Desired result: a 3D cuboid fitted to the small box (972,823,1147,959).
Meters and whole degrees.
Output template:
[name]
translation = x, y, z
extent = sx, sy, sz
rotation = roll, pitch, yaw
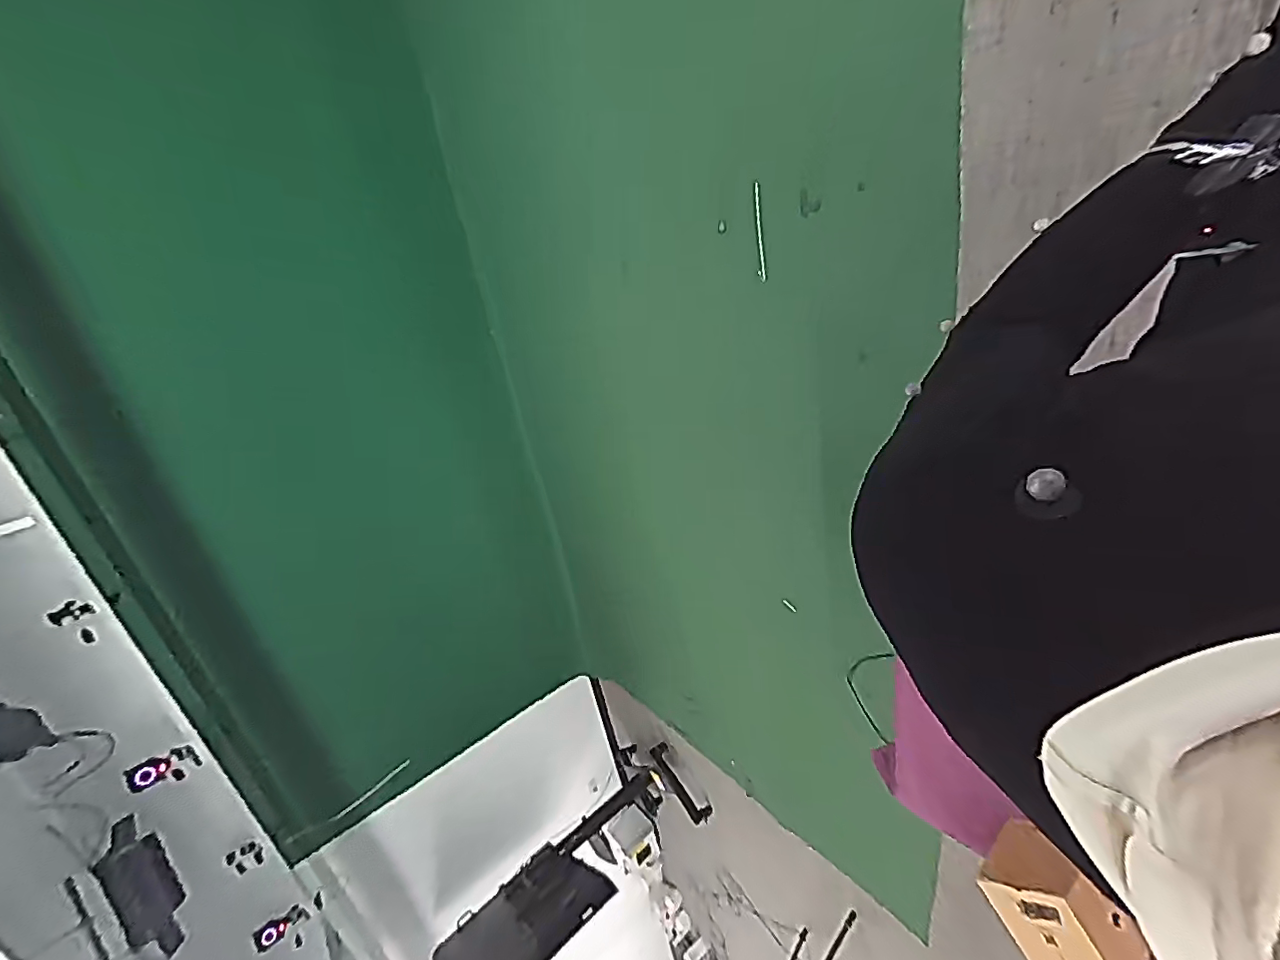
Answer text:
[small box]
translation = 0.761, 0.767, 0.985
extent = 0.179, 0.176, 0.168
rotation = 58, 147, 9
